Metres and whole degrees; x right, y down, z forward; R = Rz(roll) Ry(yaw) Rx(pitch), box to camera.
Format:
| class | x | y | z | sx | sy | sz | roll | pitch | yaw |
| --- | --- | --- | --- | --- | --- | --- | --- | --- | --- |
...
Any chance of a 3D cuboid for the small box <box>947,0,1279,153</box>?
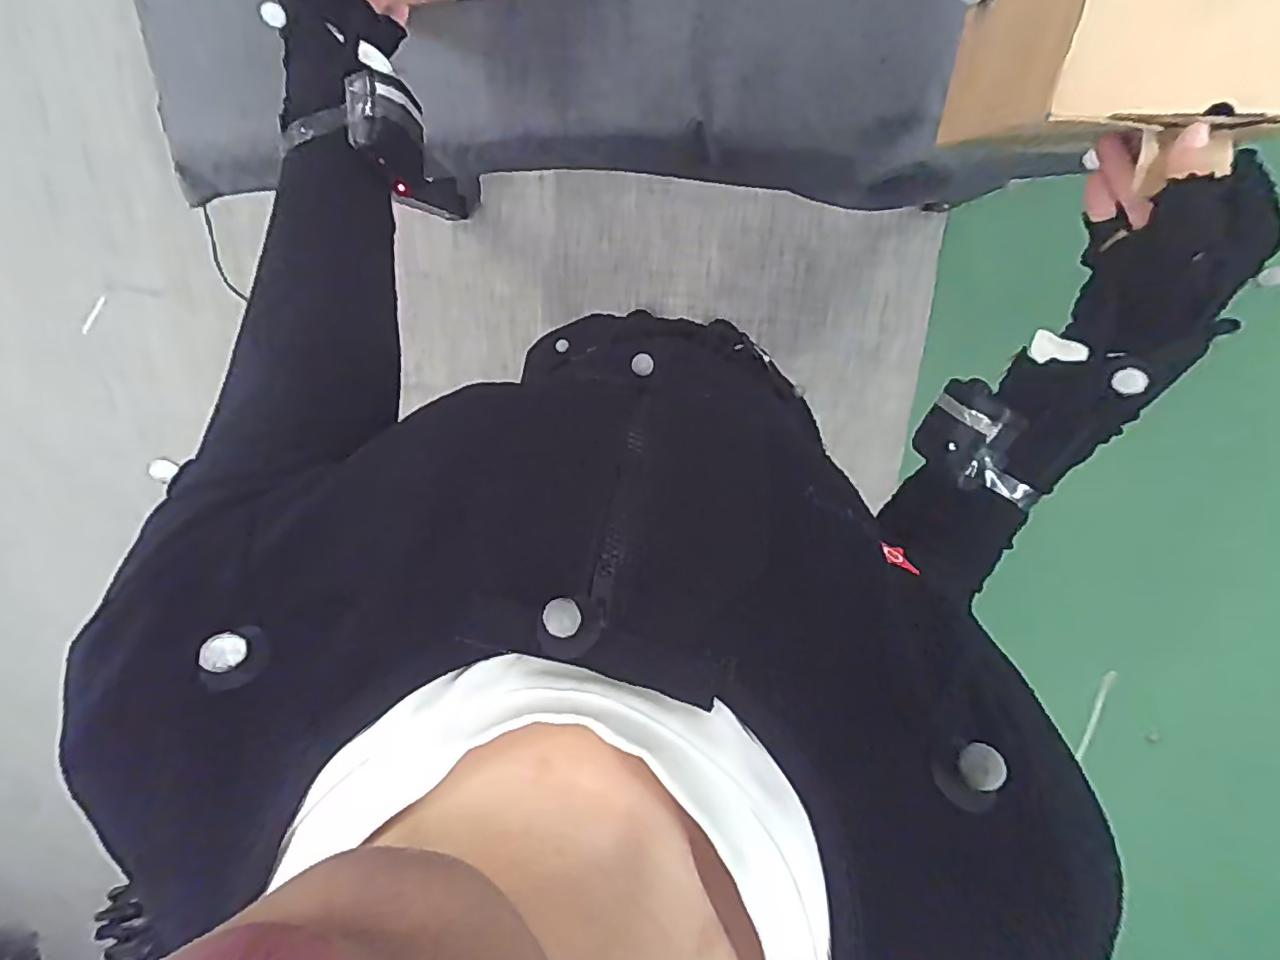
| class | x | y | z | sx | sy | sz | roll | pitch | yaw |
| --- | --- | --- | --- | --- | --- | --- | --- | --- | --- |
| small box | 0.306 | -0.295 | 0.312 | 0.168 | 0.176 | 0.179 | 4 | 118 | 5 |
